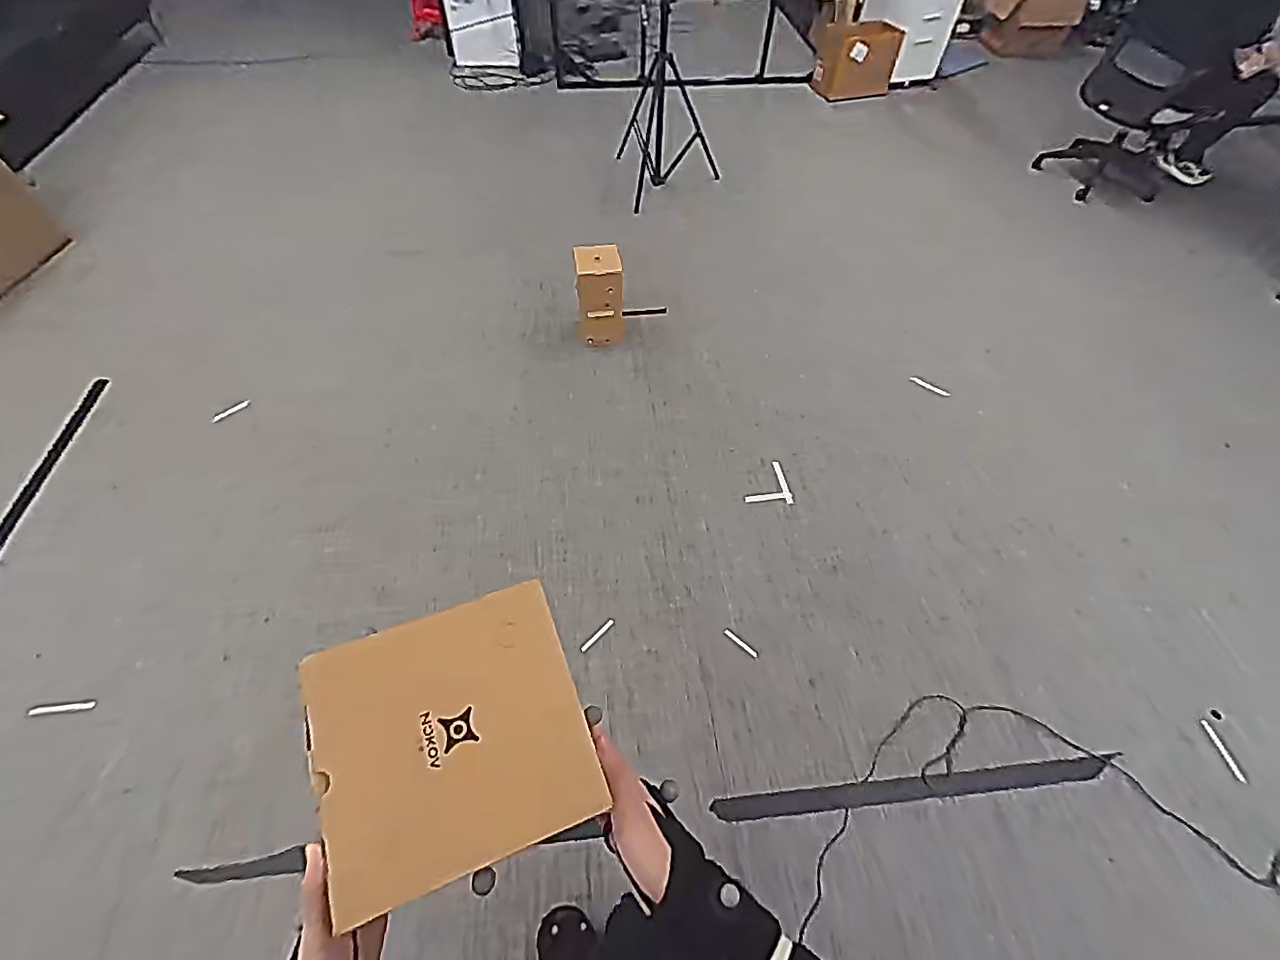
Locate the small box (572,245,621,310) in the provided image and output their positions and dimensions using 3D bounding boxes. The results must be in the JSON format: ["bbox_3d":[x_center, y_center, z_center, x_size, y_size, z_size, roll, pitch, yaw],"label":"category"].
[{"bbox_3d":[-0.164,-0.761,2.051,0.168,0.176,0.179,-7,54,-7],"label":"small box"}]

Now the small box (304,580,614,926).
[{"bbox_3d":[-0.132,0.202,0.438,0.179,0.176,0.168,-18,67,-13],"label":"small box"}]

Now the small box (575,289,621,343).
[{"bbox_3d":[-0.168,-0.667,2.183,0.168,0.176,0.179,-7,55,-6],"label":"small box"}]
